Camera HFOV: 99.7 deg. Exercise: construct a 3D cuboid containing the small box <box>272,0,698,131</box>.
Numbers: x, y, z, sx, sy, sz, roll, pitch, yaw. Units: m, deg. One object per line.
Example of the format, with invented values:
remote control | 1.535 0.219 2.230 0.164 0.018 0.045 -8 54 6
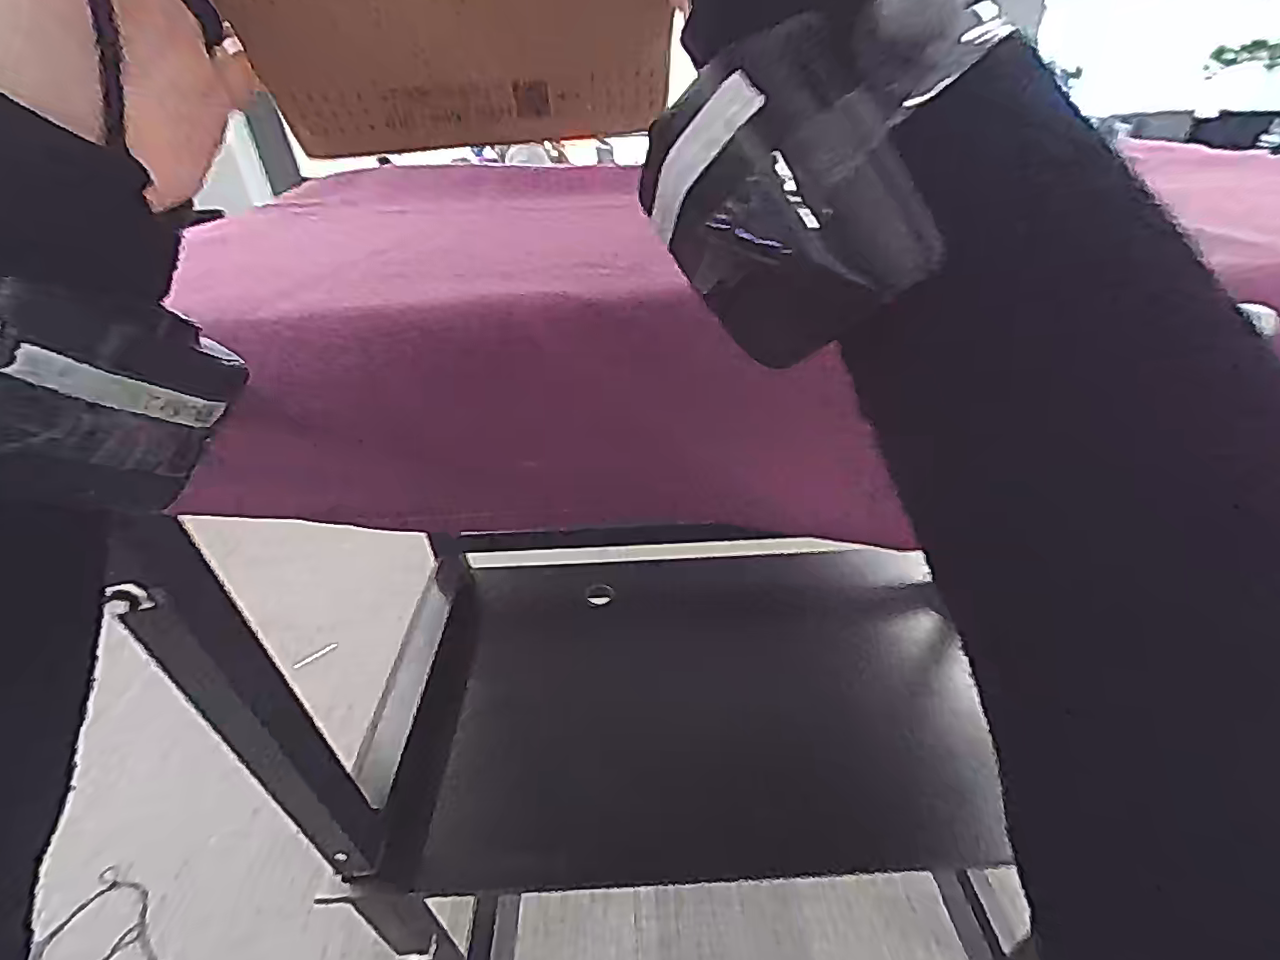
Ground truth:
small box | -0.067 -0.268 0.202 0.168 0.176 0.179 -7 65 -4
